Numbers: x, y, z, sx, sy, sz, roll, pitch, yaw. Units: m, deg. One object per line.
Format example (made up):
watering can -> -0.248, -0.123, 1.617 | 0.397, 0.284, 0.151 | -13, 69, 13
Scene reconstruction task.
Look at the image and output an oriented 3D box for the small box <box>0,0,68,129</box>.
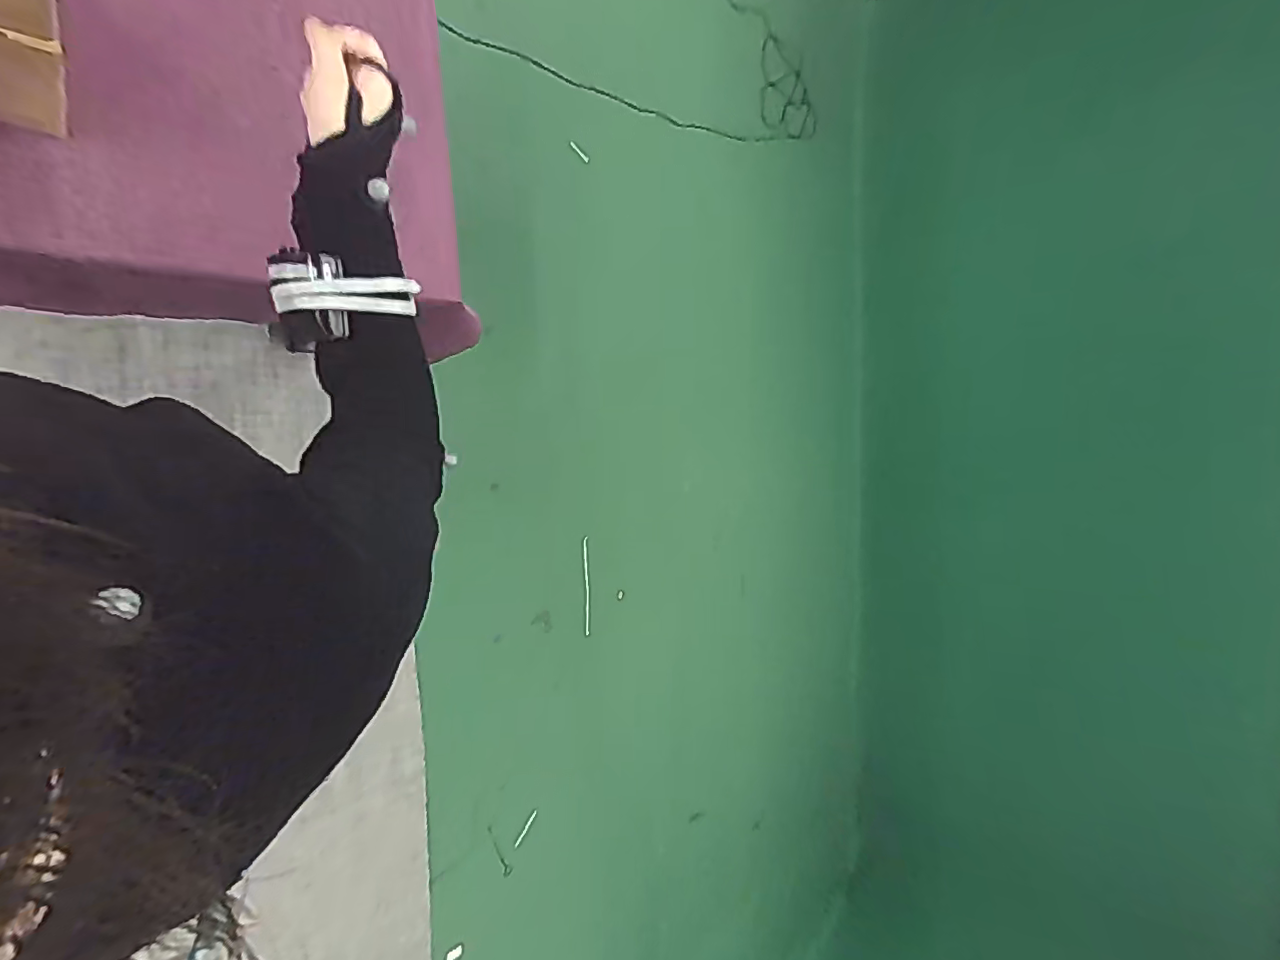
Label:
small box -> -0.586, -0.429, 0.431 | 0.168, 0.176, 0.179 | -7, 98, -45
